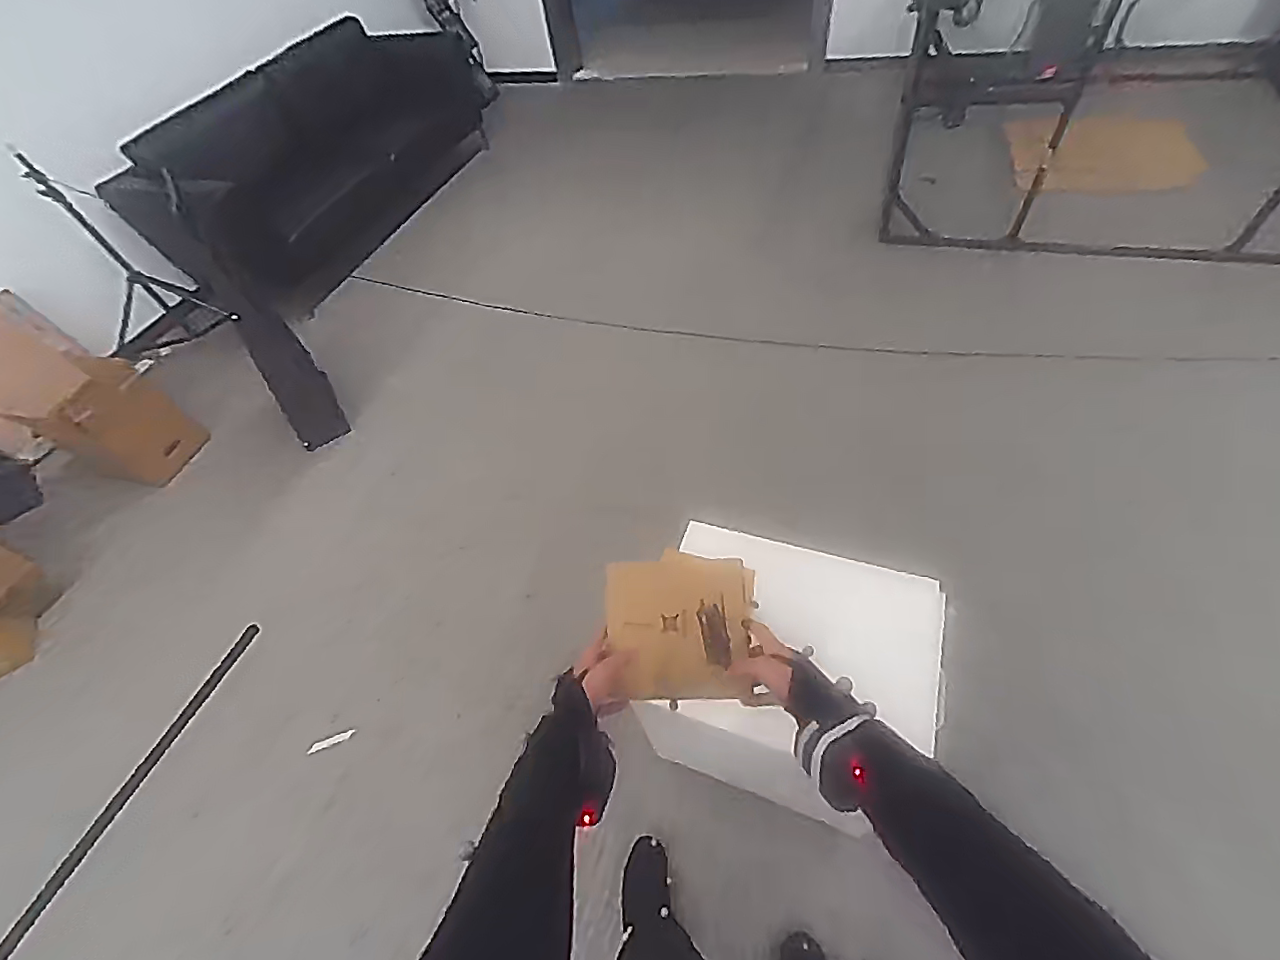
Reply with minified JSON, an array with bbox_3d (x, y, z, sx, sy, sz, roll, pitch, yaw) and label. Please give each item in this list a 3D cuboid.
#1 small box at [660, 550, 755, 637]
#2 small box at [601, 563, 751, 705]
[{"bbox_3d":[0.101,0.255,0.959,0.168,0.176,0.179,11,56,18],"label":"small box"},{"bbox_3d":[0.048,0.211,0.729,0.179,0.176,0.168,-3,66,5],"label":"small box"}]
